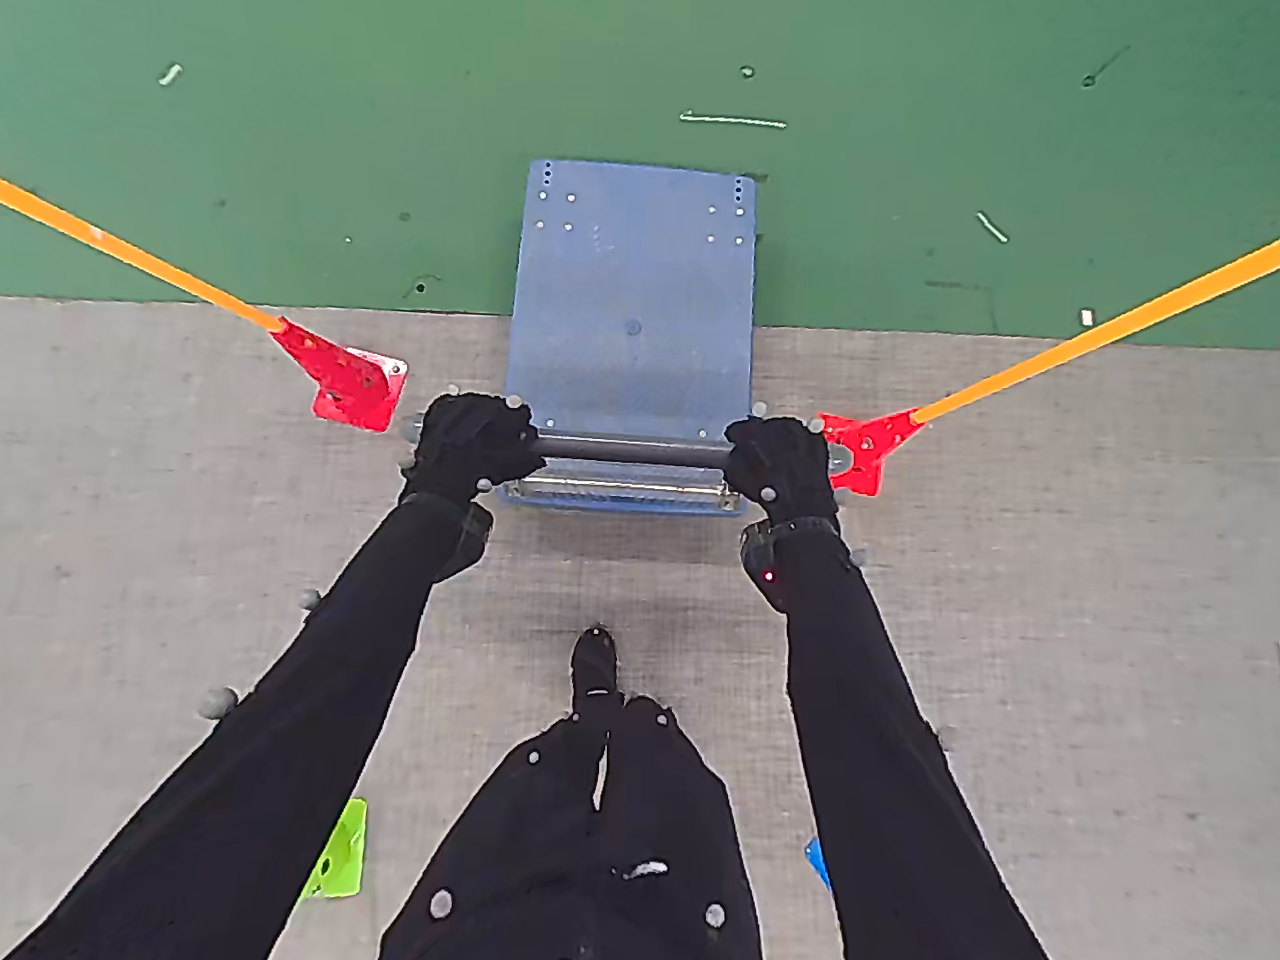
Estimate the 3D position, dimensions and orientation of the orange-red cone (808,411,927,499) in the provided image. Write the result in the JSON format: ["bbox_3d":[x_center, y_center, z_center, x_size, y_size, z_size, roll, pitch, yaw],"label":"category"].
[{"bbox_3d":[0.561,-0.090,1.272,0.198,0.360,0.199,13,80,0],"label":"orange-red cone"}]
